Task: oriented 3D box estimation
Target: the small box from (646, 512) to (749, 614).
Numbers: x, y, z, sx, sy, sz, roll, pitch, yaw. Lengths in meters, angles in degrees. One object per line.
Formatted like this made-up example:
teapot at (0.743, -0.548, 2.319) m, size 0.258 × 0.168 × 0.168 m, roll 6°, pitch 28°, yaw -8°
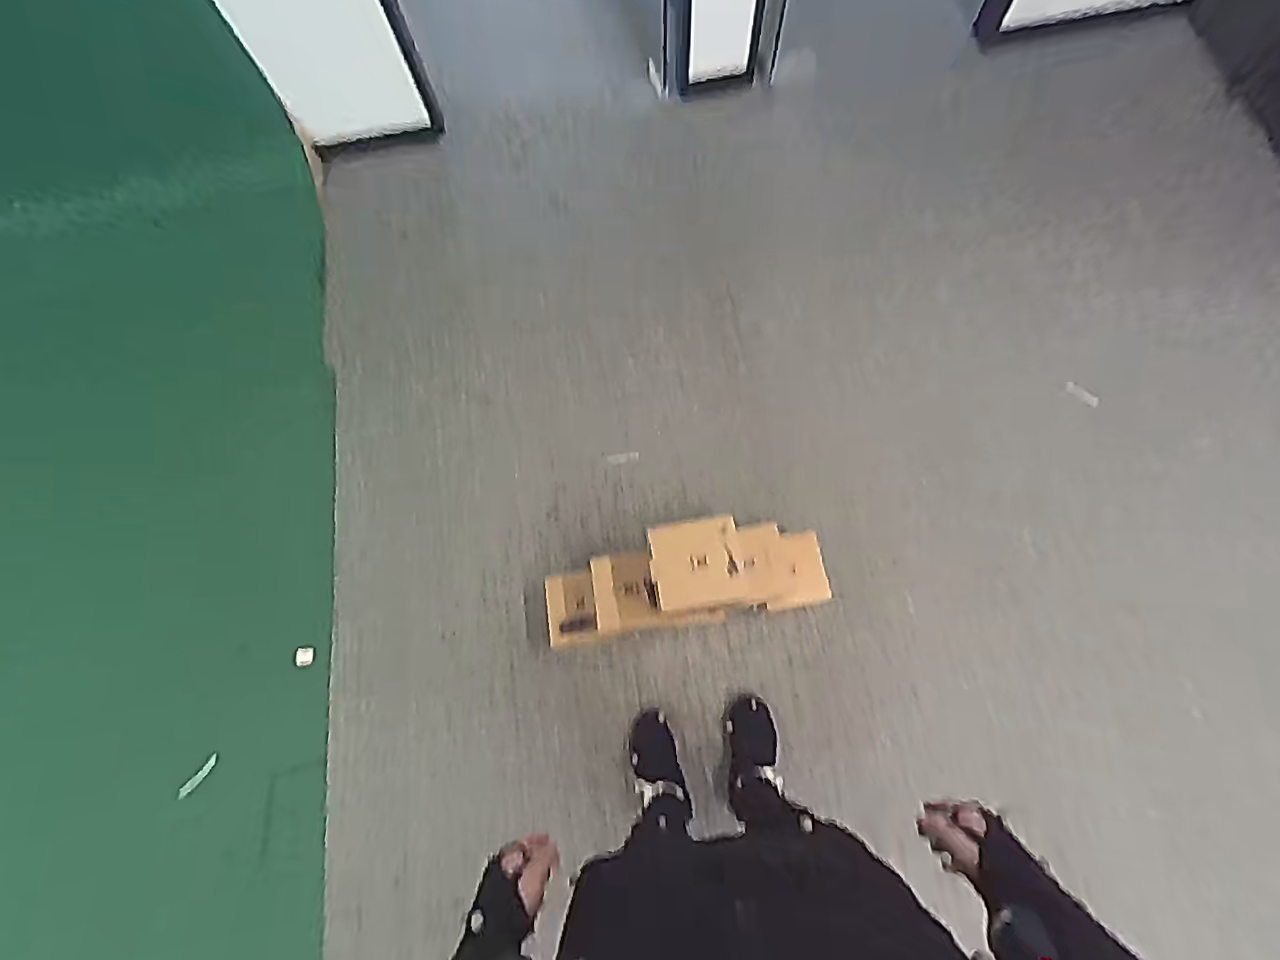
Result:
small box at (0.114, 0.178, 1.118) m, size 0.179 × 0.176 × 0.168 m, roll -10°, pitch 72°, yaw -1°

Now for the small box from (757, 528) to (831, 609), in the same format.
small box at (0.383, 0.241, 1.433) m, size 0.168 × 0.176 × 0.179 m, roll -10°, pitch 71°, yaw -1°

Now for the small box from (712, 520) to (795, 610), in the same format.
small box at (0.243, 0.207, 1.277) m, size 0.179 × 0.176 × 0.168 m, roll -11°, pitch 72°, yaw -3°

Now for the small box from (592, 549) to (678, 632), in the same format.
small box at (-0.011, 0.261, 1.267) m, size 0.179 × 0.176 × 0.168 m, roll -8°, pitch 71°, yaw 0°
